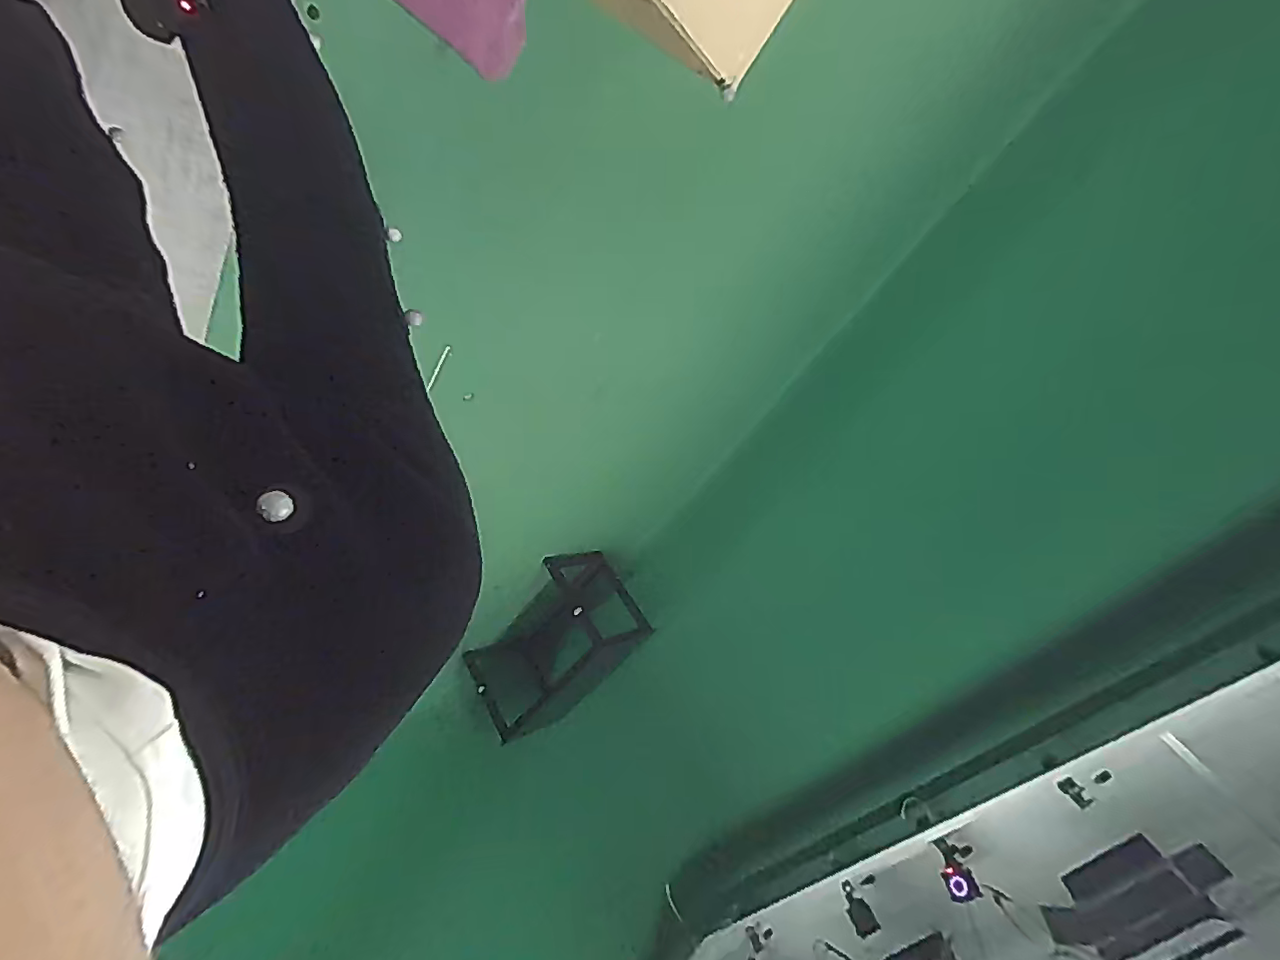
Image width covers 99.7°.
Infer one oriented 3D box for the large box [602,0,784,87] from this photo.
[{"bbox_3d":[0.026,-0.631,0.389,0.320,0.320,0.408,0,137,-52],"label":"large box"}]
